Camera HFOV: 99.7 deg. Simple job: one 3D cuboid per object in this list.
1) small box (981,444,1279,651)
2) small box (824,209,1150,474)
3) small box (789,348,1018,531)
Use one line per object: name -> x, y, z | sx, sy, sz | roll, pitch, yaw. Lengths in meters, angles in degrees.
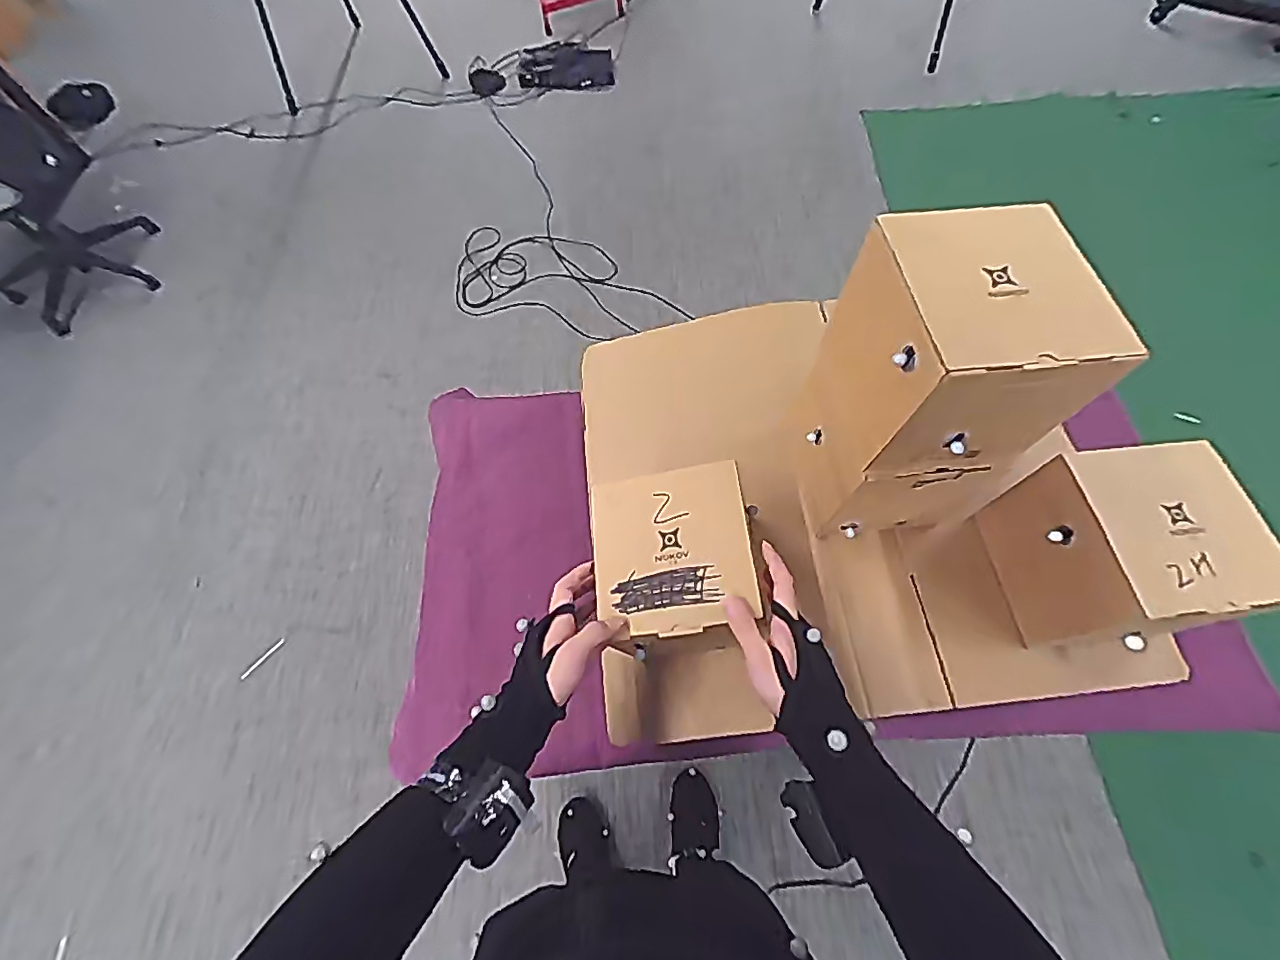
small box -> 0.523, 0.080, 0.597 | 0.168, 0.176, 0.179 | -5, 64, -3
small box -> 0.296, -0.125, 0.513 | 0.168, 0.176, 0.179 | -6, 64, -5
small box -> 0.296, -0.045, 0.654 | 0.168, 0.176, 0.179 | -5, 63, -4
